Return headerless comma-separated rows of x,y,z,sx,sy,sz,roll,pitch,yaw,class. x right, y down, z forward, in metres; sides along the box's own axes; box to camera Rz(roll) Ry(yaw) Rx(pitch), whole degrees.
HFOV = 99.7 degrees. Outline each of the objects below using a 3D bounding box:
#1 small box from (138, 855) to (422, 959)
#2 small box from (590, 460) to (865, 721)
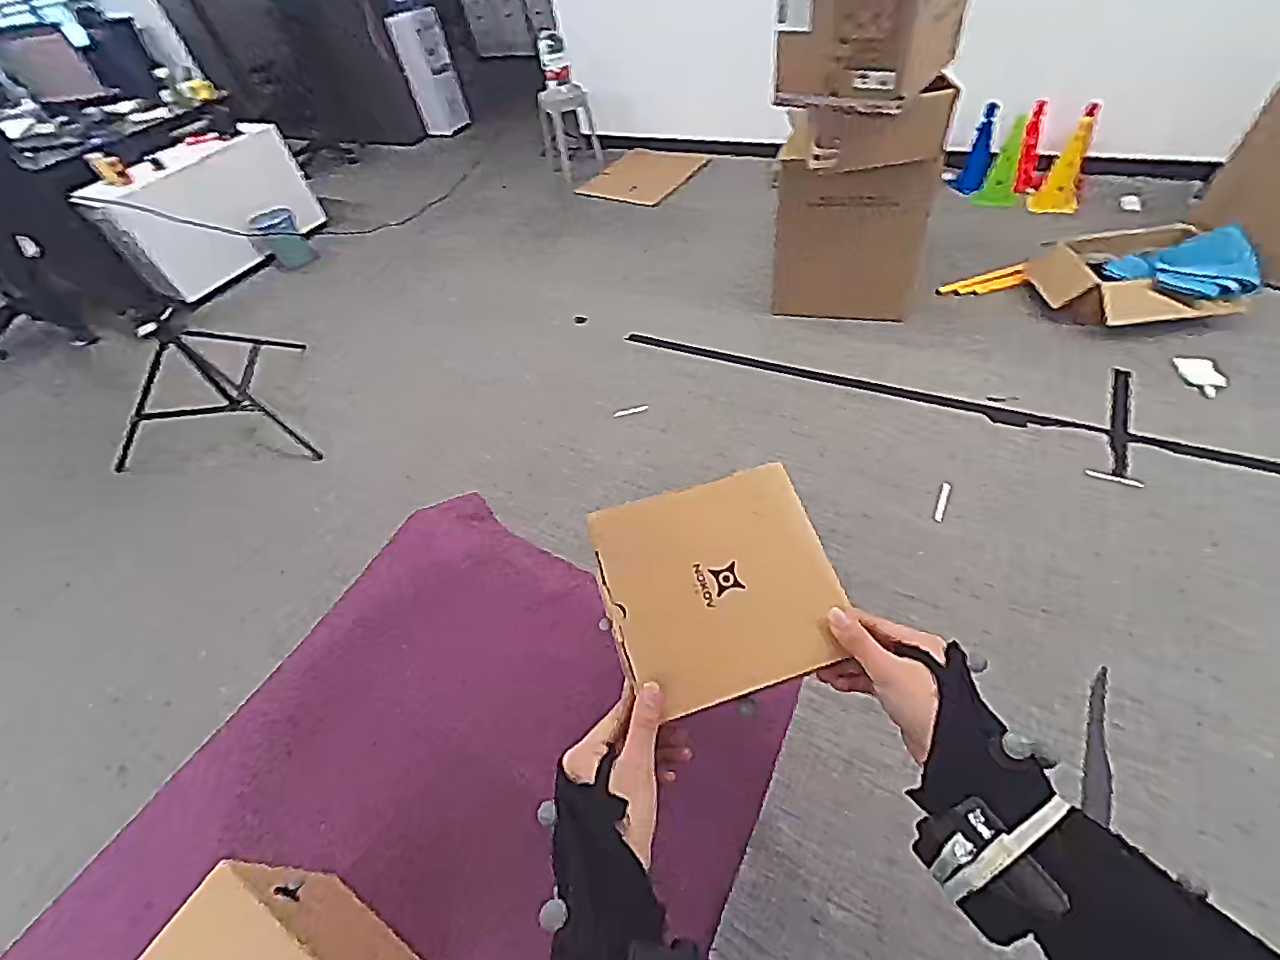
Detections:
-0.302,0.448,0.436,0.179,0.176,0.168,19,56,25,small box
0.062,0.107,0.492,0.179,0.176,0.168,-16,66,-7,small box
